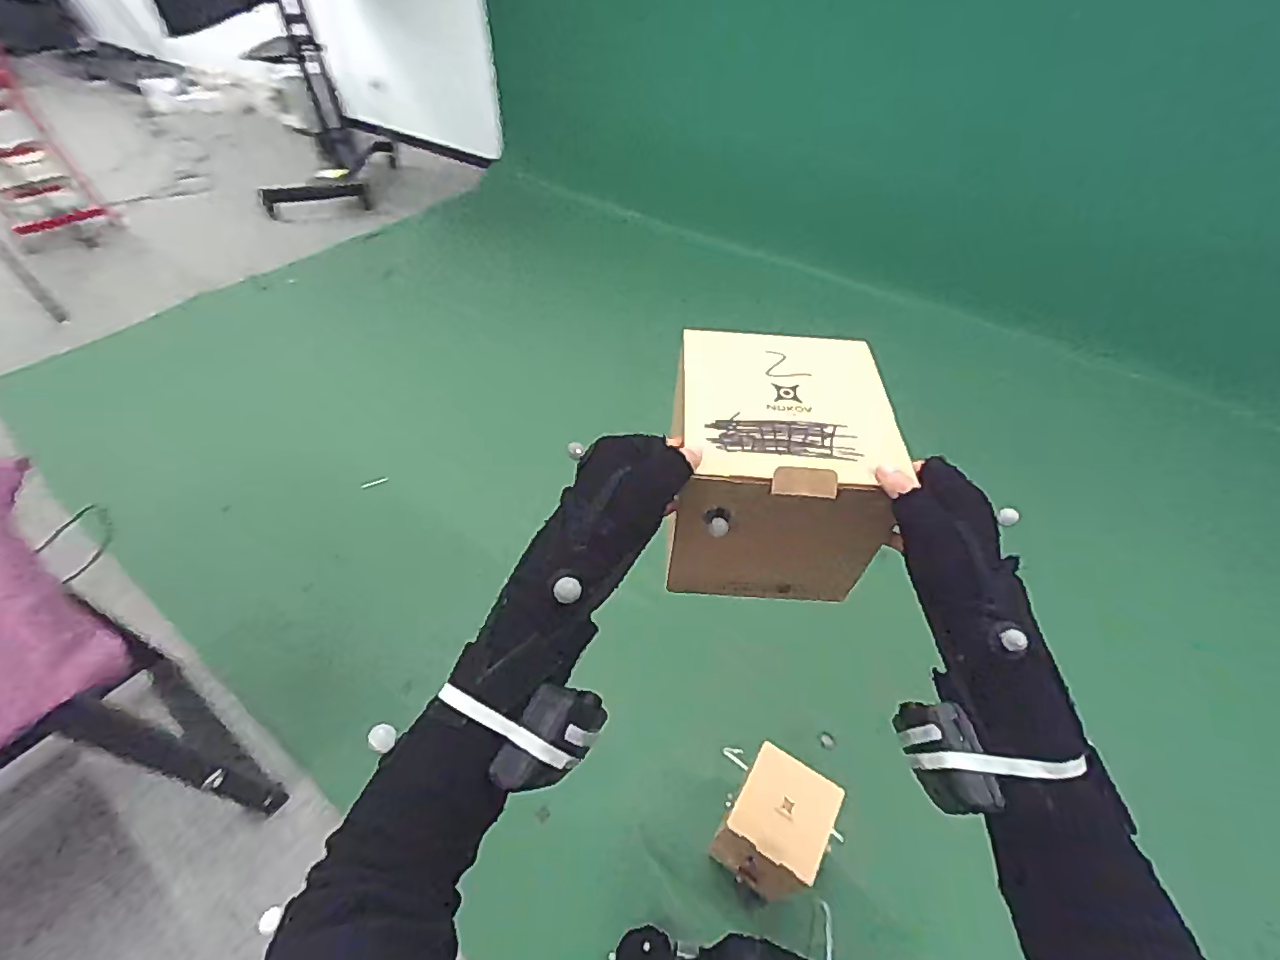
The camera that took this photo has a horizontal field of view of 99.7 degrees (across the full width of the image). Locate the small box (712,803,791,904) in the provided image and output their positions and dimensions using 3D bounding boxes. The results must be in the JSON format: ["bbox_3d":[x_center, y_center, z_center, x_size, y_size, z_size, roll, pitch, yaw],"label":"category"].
[{"bbox_3d":[0.269,0.773,1.174,0.168,0.176,0.179,28,53,23],"label":"small box"}]

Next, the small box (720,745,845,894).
[{"bbox_3d":[0.270,0.663,1.054,0.168,0.176,0.179,26,53,21],"label":"small box"}]
